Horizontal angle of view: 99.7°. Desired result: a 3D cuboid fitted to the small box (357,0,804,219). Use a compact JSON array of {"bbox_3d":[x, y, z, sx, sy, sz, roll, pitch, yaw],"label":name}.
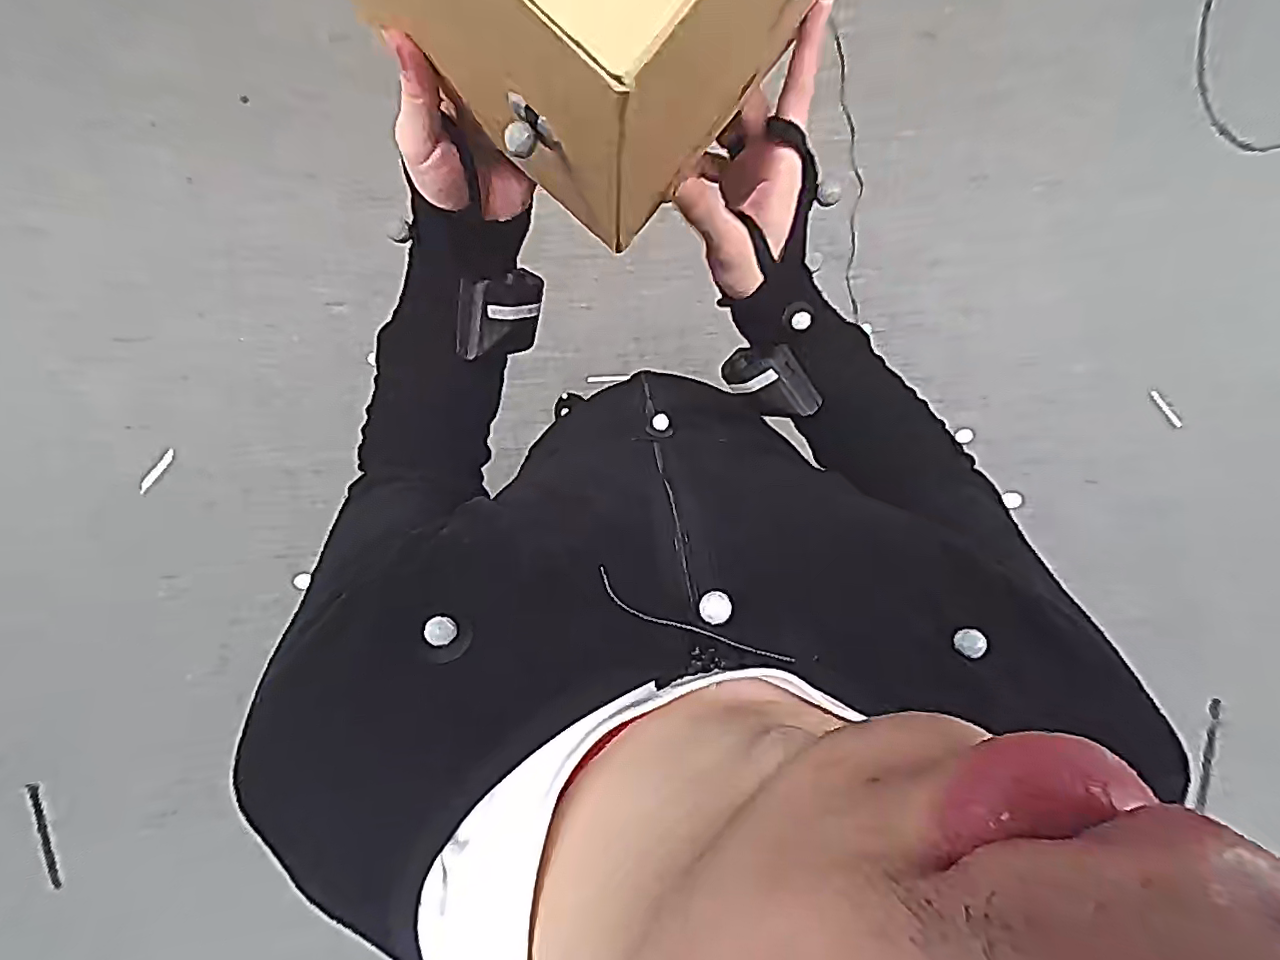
[{"bbox_3d":[-0.023,-0.239,0.222,0.179,0.176,0.168,38,94,-7],"label":"small box"}]
